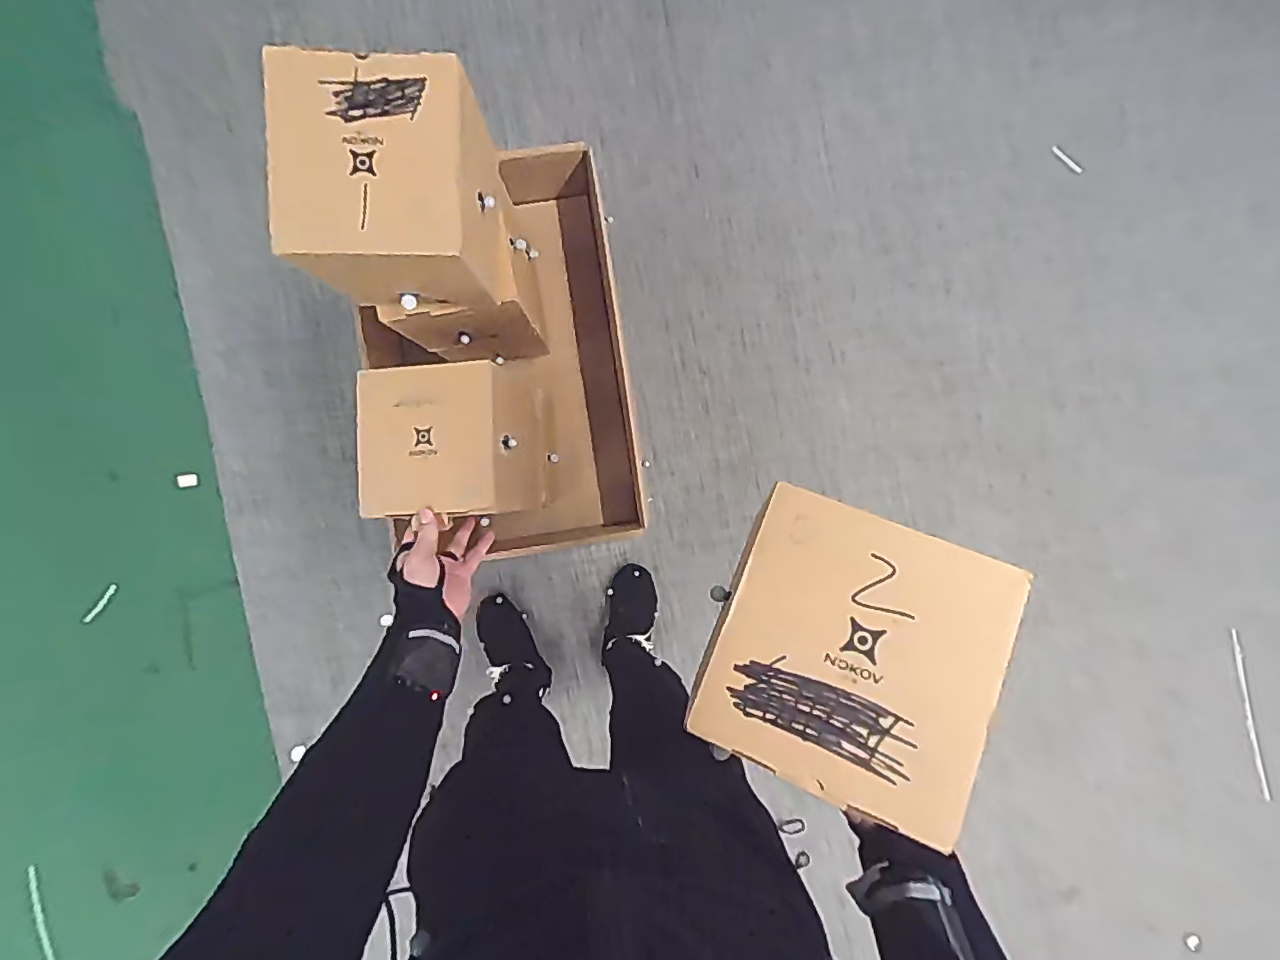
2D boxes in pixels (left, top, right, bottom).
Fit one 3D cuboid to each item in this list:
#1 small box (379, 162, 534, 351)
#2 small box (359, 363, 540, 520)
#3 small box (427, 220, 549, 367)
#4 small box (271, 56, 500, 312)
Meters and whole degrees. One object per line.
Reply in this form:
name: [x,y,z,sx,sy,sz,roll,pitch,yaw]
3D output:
small box: [-0.246,-0.287,0.723,0.168,0.176,0.179,-10,93,-3]
small box: [-0.234,-0.040,0.700,0.168,0.176,0.179,-3,86,9]
small box: [-0.251,-0.292,0.885,0.168,0.176,0.179,-9,92,-1]
small box: [-0.245,-0.287,0.559,0.168,0.176,0.179,0,92,-2]
